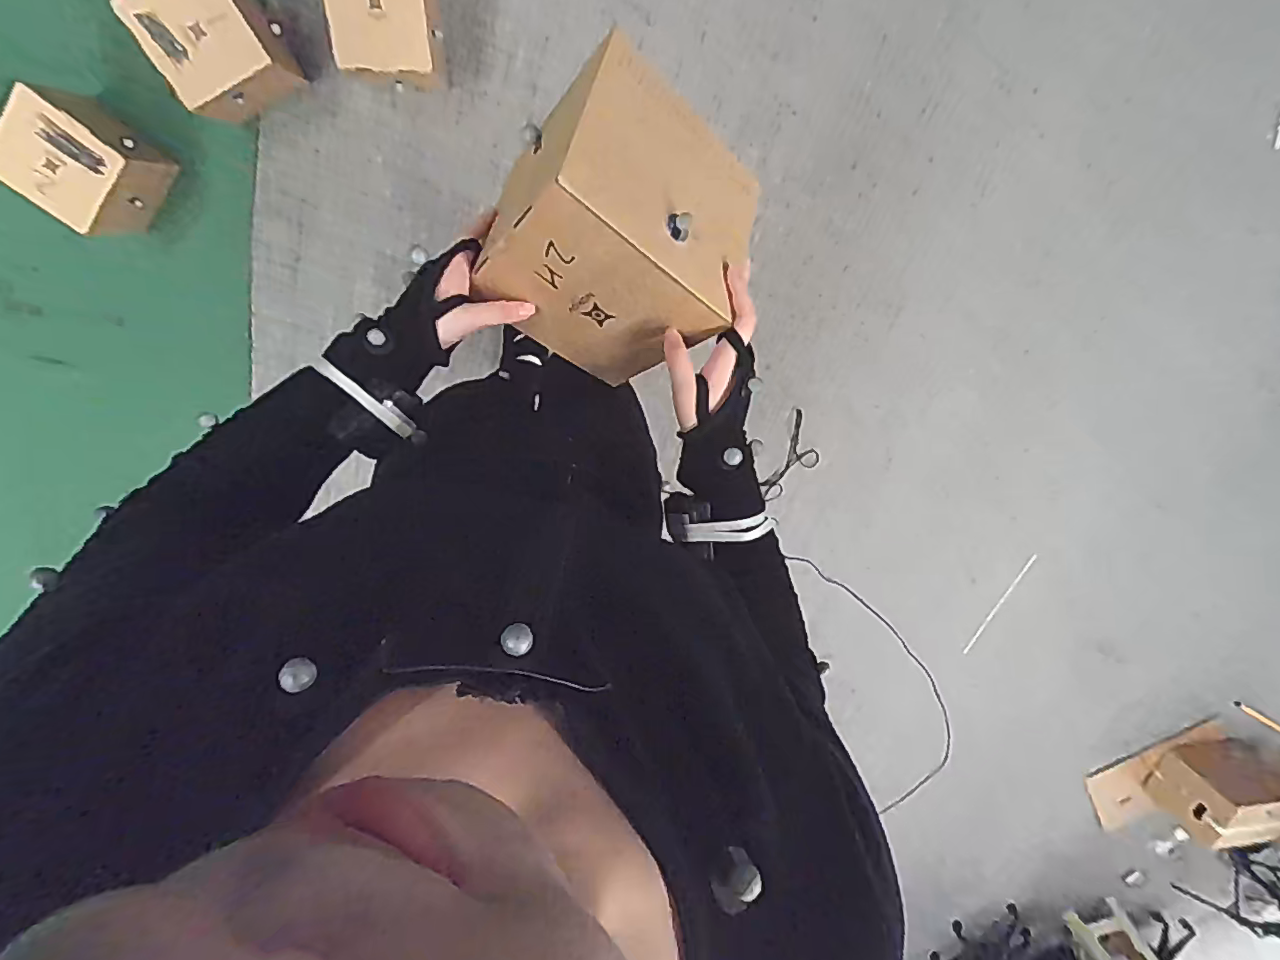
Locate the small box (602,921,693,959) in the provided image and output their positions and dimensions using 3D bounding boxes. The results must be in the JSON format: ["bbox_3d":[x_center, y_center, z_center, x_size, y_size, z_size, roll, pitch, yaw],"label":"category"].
[{"bbox_3d":[0.022,1.174,1.268,0.179,0.176,0.168,19,112,-17],"label":"small box"}]

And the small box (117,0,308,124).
[{"bbox_3d":[-0.752,-0.778,0.977,0.179,0.176,0.168,-26,117,4],"label":"small box"}]

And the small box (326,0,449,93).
[{"bbox_3d":[-0.458,-0.833,0.996,0.168,0.176,0.179,-2,117,-8],"label":"small box"}]
